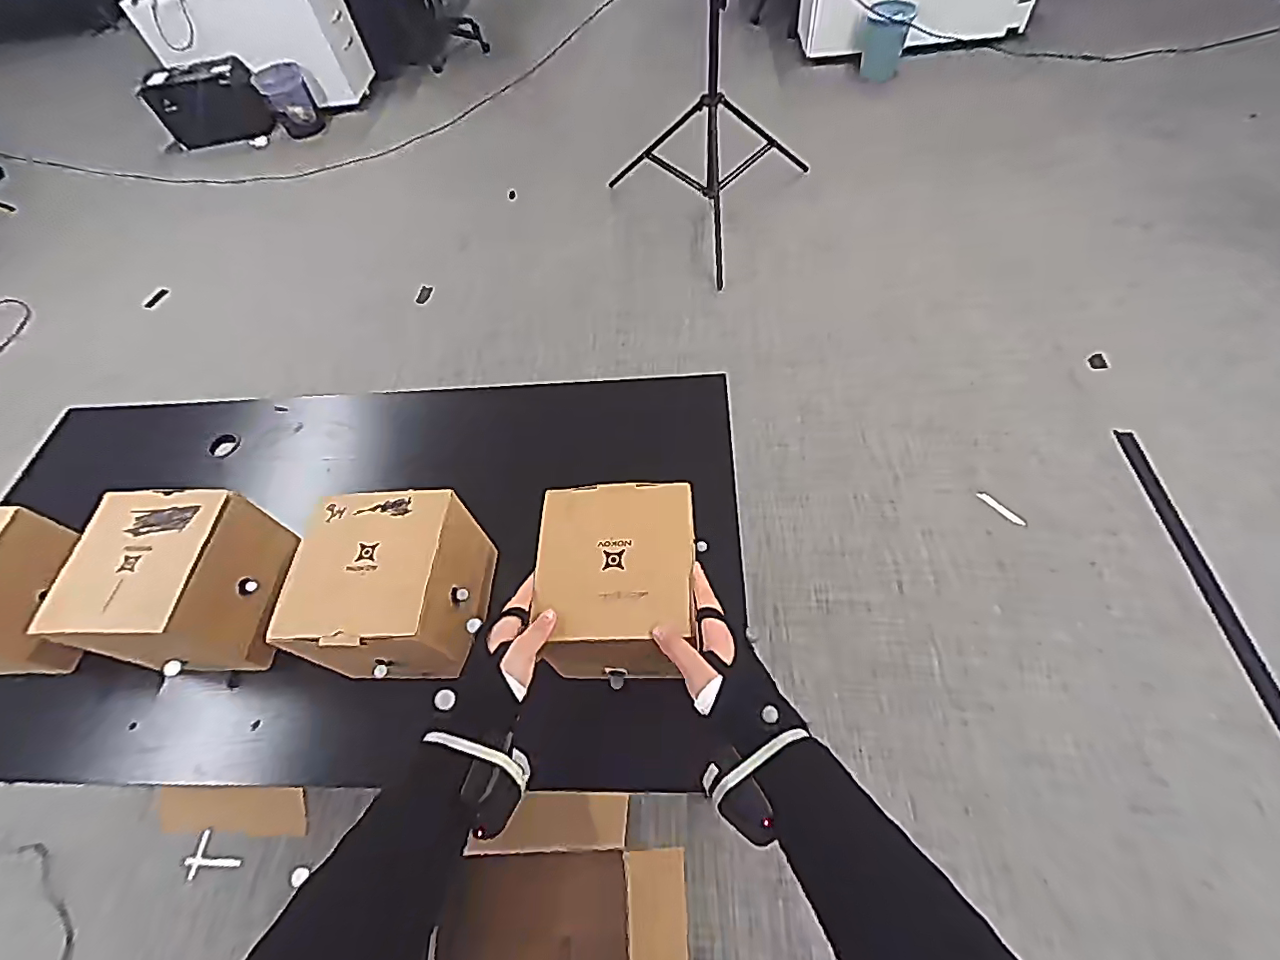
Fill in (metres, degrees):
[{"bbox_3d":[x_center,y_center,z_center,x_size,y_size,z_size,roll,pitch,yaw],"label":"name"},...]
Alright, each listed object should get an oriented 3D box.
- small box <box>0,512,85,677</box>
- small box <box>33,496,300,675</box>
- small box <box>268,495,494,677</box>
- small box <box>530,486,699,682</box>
[{"bbox_3d":[-0.850,0.154,0.707,0.179,0.176,0.168,-3,57,4],"label":"small box"},{"bbox_3d":[-0.566,0.137,0.688,0.168,0.176,0.179,-2,58,6],"label":"small box"},{"bbox_3d":[-0.292,0.136,0.657,0.168,0.176,0.179,-2,57,6],"label":"small box"},{"bbox_3d":[-0.018,0.126,0.633,0.168,0.176,0.179,-4,57,6],"label":"small box"}]
